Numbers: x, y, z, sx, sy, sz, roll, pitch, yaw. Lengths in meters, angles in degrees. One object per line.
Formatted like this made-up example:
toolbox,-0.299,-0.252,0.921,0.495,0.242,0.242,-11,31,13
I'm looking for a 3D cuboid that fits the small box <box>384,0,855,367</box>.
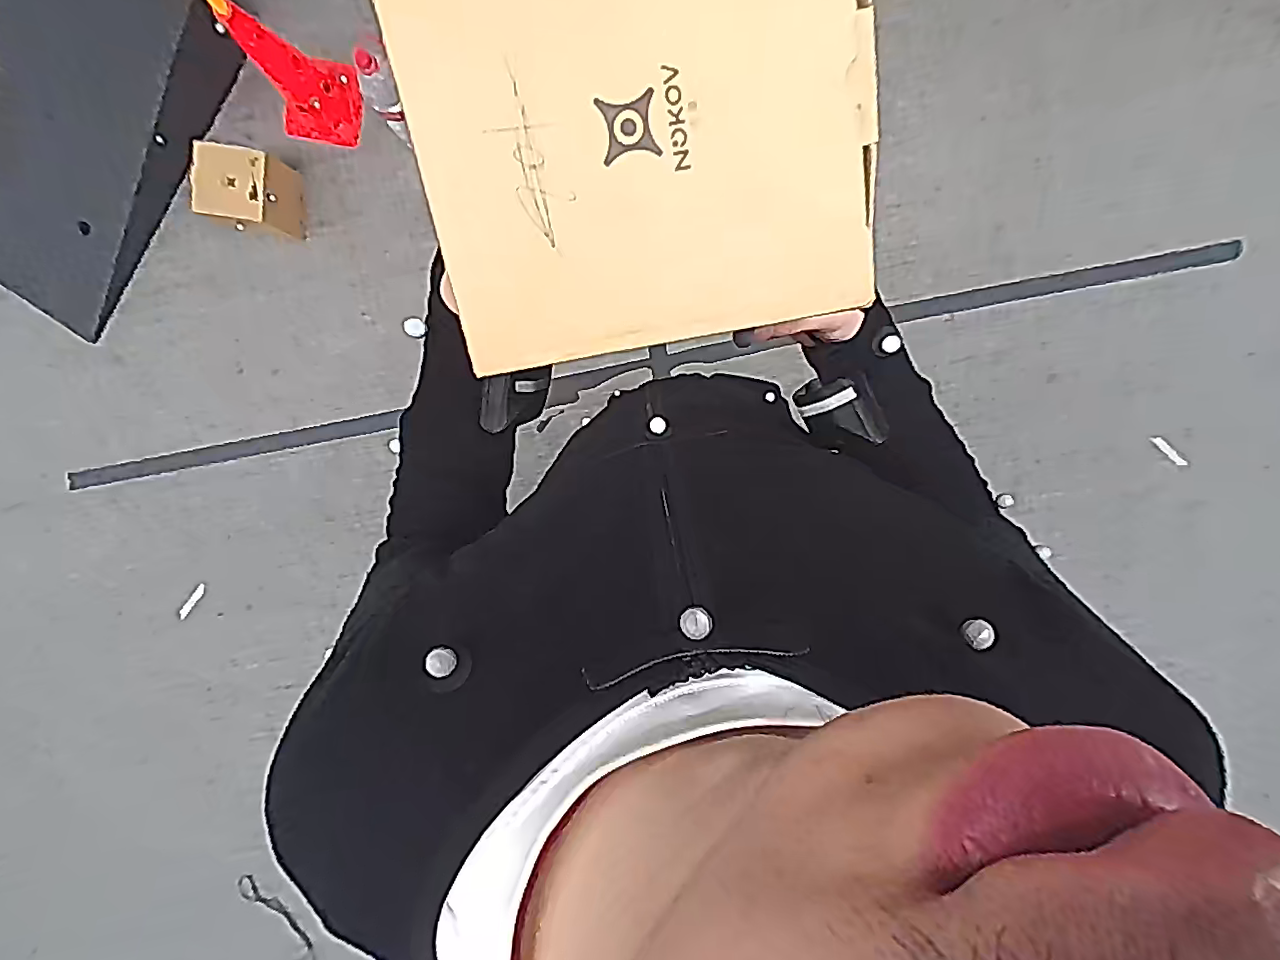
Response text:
small box,-0.003,-0.166,0.296,0.179,0.176,0.168,-10,107,3
